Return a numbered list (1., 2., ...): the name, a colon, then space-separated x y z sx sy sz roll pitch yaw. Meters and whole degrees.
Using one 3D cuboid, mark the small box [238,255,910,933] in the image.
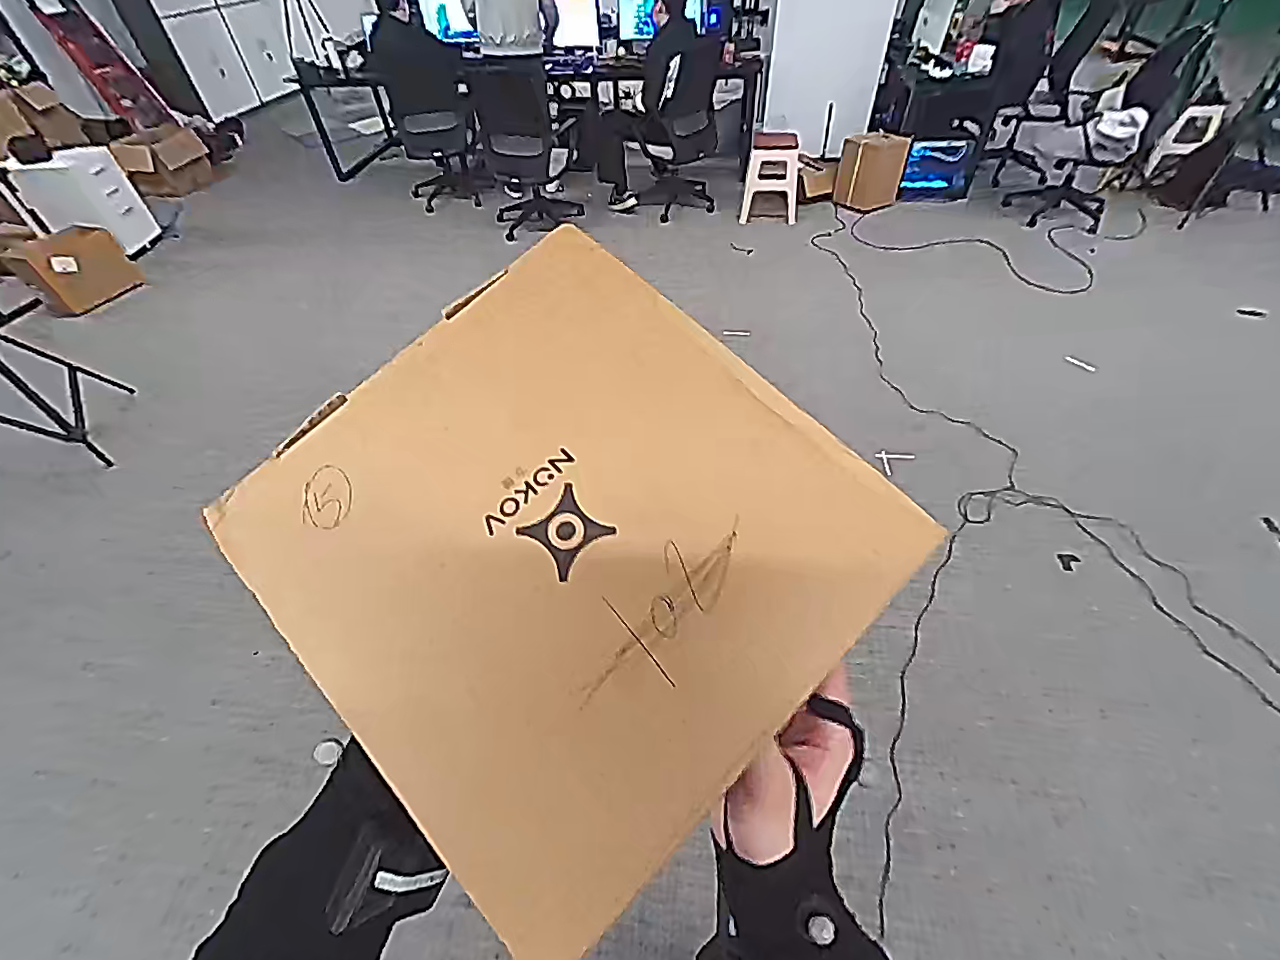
1. small box: -0.023 0.042 0.260 0.179 0.176 0.168 43 78 15
